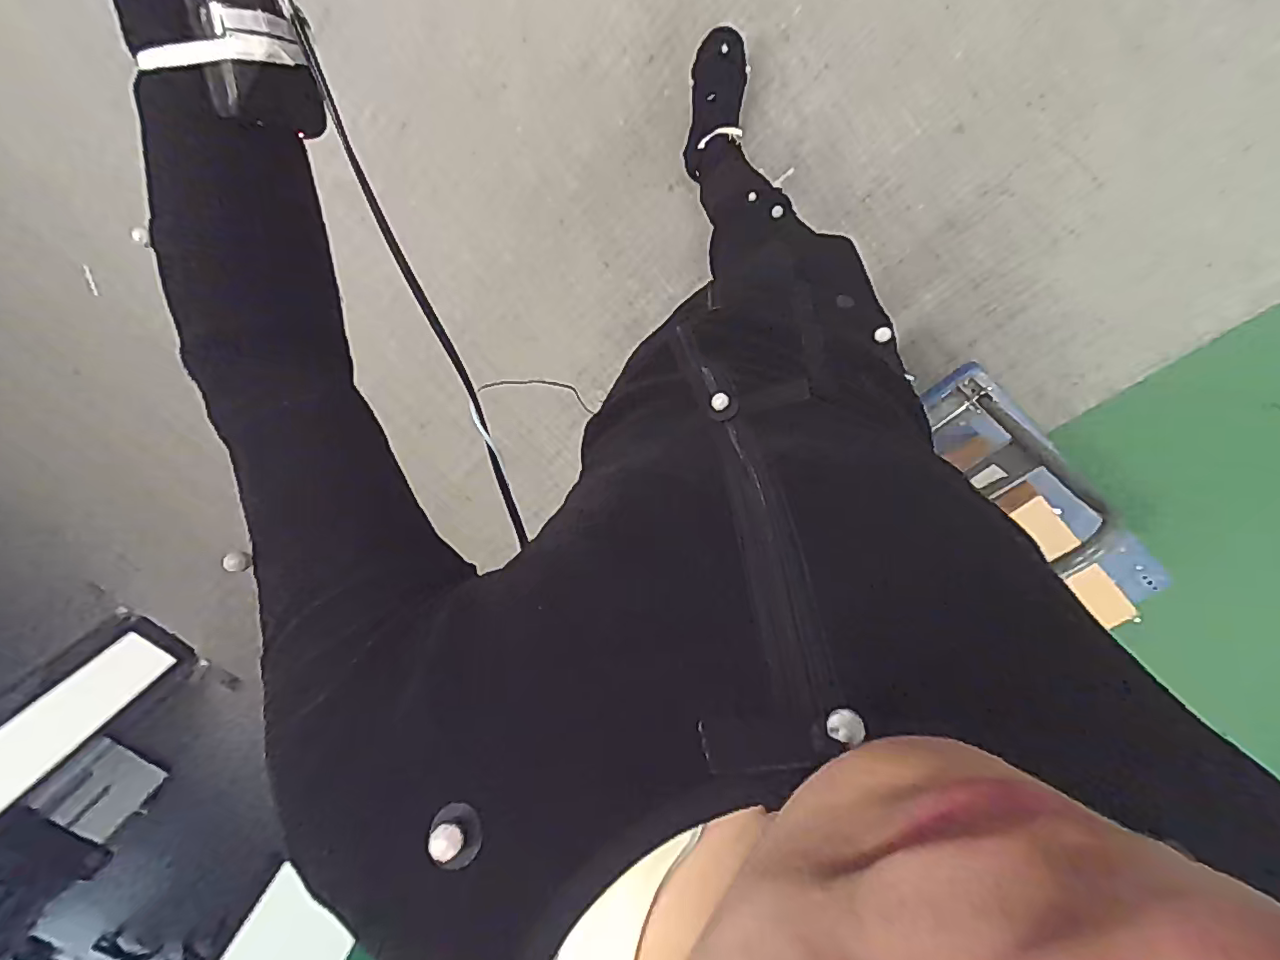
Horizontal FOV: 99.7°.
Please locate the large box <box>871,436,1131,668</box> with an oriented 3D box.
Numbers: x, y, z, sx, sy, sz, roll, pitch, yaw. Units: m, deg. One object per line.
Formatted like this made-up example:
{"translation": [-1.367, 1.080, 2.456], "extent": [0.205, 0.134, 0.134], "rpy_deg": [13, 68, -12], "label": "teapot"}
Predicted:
{"translation": [0.849, 0.169, 1.329], "extent": [0.408, 0.320, 0.320], "rpy_deg": [43, 117, -14], "label": "large box"}
